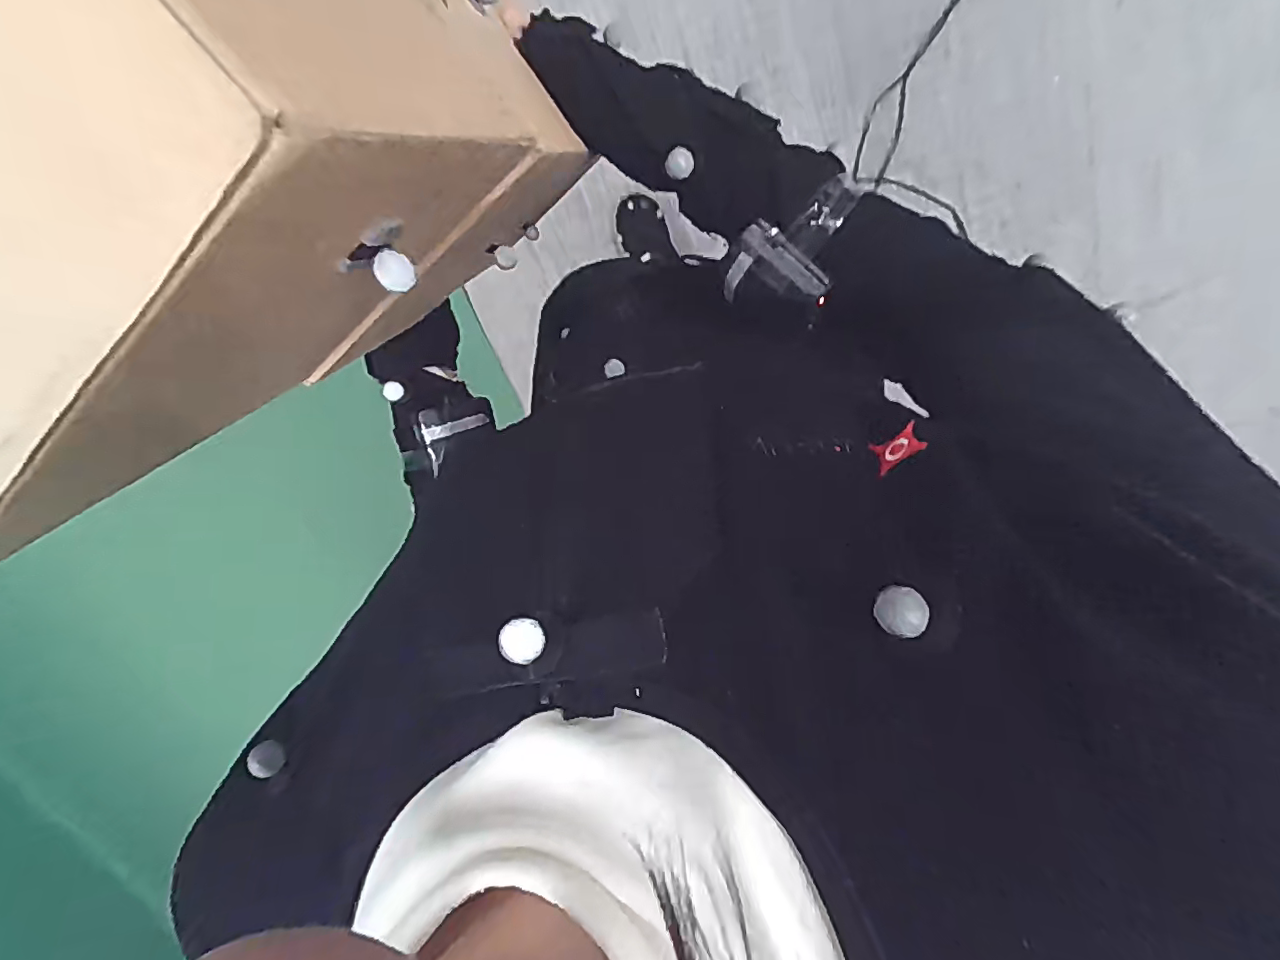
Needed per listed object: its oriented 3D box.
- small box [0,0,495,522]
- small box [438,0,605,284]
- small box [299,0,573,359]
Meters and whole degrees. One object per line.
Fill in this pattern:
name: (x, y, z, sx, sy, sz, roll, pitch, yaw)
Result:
small box: (-0.165, -0.121, 0.154, 0.179, 0.176, 0.168, -32, 113, 23)
small box: (-0.142, -0.294, 0.429, 0.179, 0.176, 0.168, -37, 113, 23)
small box: (-0.153, -0.203, 0.293, 0.179, 0.176, 0.168, -32, 114, 21)
